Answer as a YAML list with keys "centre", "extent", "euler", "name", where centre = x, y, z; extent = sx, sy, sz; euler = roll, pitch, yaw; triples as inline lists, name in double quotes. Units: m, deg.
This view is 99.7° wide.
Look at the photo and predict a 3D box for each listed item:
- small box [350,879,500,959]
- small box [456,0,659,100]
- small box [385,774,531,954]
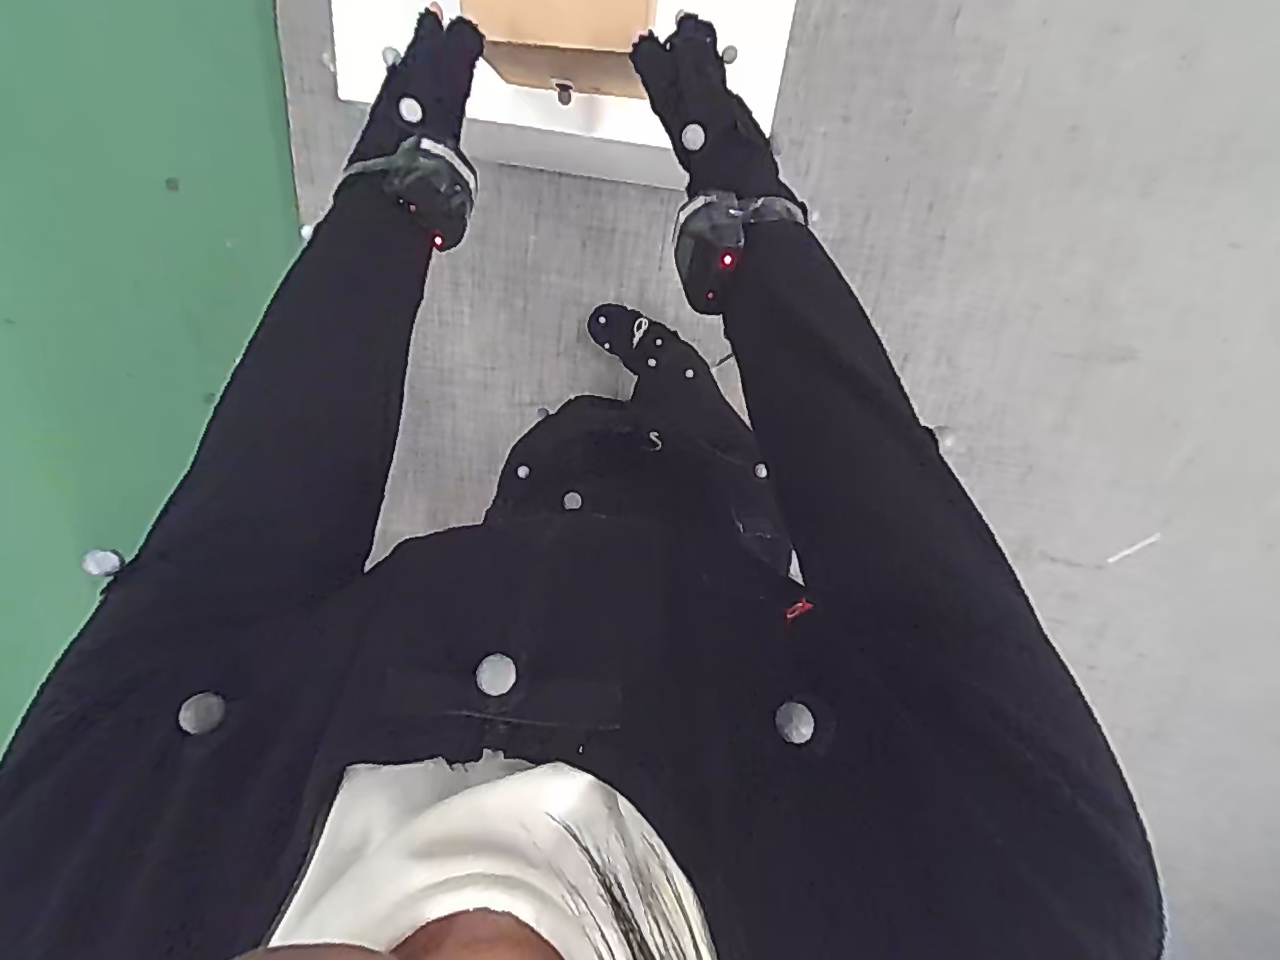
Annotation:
- centre: [-0.290, 0.673, 0.710]
  extent: [0.168, 0.176, 0.179]
  euler: [10, 116, -1]
  name: "small box"
- centre: [-0.068, -0.489, 0.512]
  extent: [0.168, 0.176, 0.179]
  euler: [6, 115, 2]
  name: "small box"
- centre: [-0.279, 0.601, 0.857]
  extent: [0.179, 0.176, 0.168]
  euler: [10, 114, -1]
  name: "small box"
